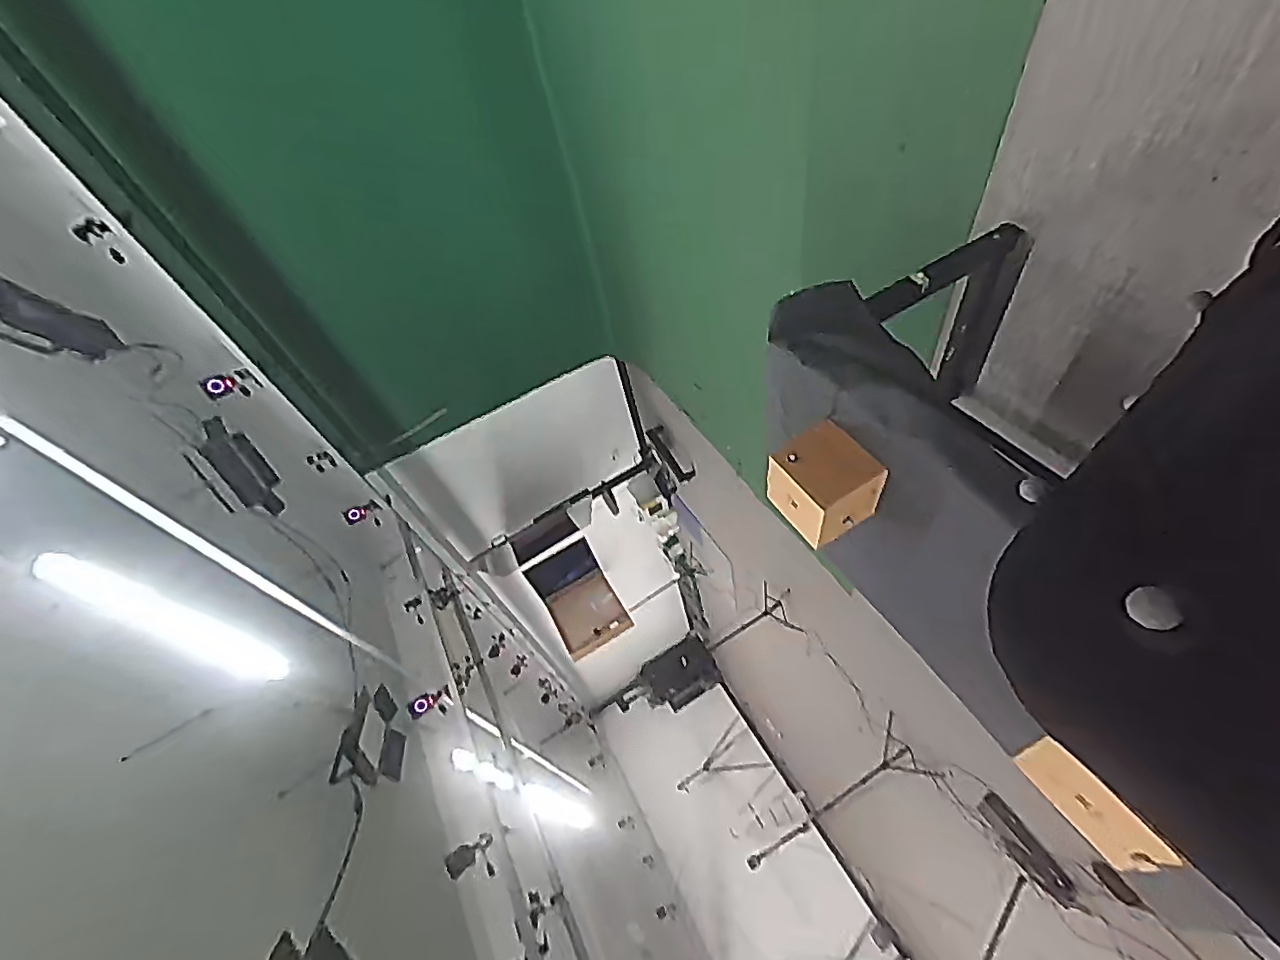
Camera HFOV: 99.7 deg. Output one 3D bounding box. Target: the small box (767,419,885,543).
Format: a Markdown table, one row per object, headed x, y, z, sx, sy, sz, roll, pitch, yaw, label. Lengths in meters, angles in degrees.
| x | y | z | sx | sy | sz | roll | pitch | yaw | label |
| --- | --- | --- | --- | --- | --- | --- | --- | --- | --- |
| 0.398 | -0.002 | 1.174 | 0.179 | 0.176 | 0.168 | 54 | 168 | 35 | small box |

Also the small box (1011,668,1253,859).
| x | y | z | sx | sy | sz | roll | pitch | yaw | label |
| --- | --- | --- | --- | --- | --- | --- | --- | --- | --- |
| 0.710 | 0.414 | 0.796 | 0.179 | 0.176 | 0.168 | 54 | 167 | 38 | small box |
